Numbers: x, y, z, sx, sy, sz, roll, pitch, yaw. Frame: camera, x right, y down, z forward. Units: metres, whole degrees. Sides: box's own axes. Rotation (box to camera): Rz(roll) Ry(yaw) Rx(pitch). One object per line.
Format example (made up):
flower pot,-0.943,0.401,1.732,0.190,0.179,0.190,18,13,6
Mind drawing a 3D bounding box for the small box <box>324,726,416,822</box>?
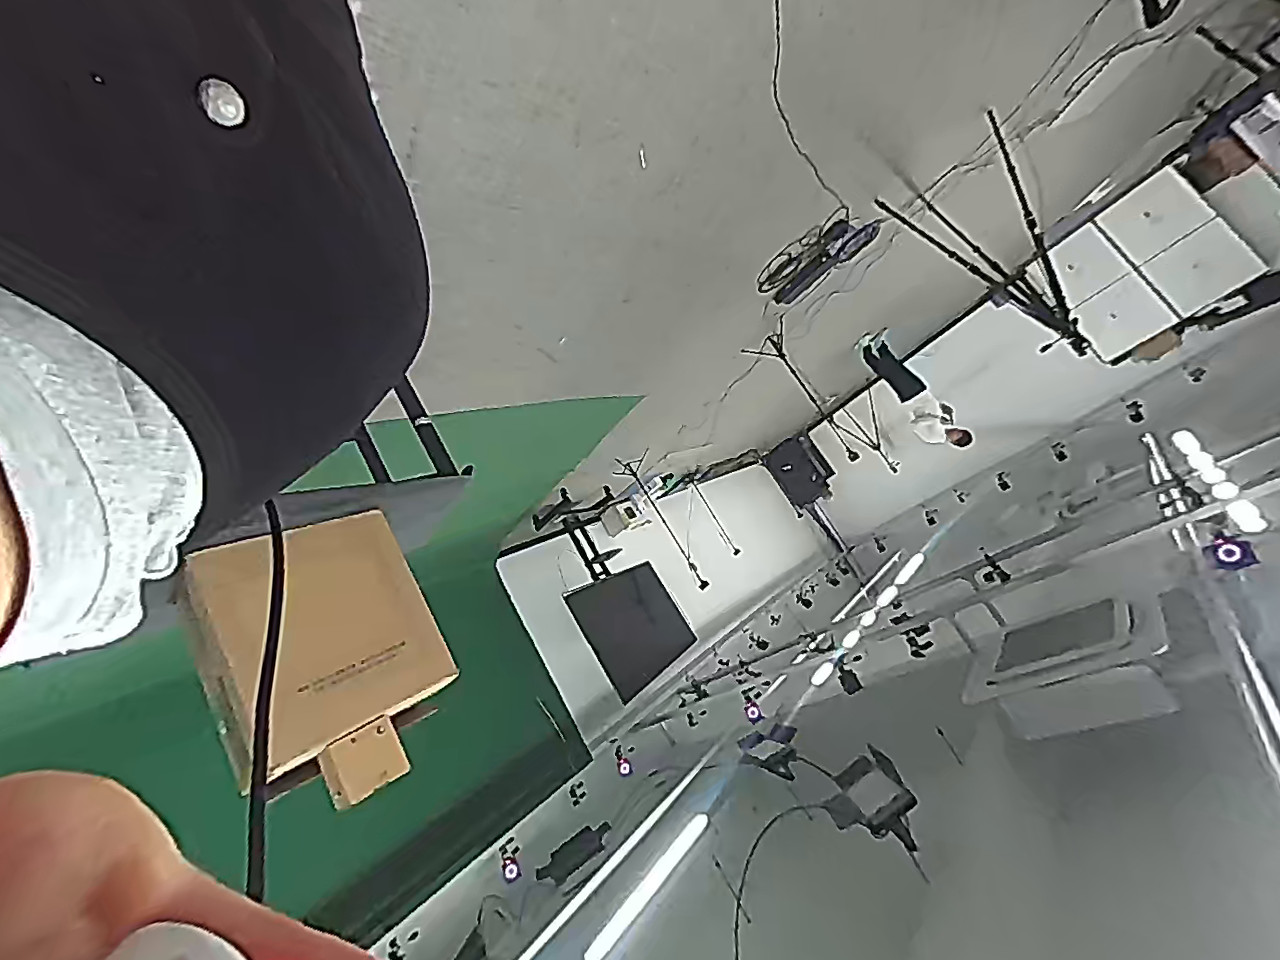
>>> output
small box,-0.770,0.826,1.531,0.168,0.176,0.179,-17,161,-46
